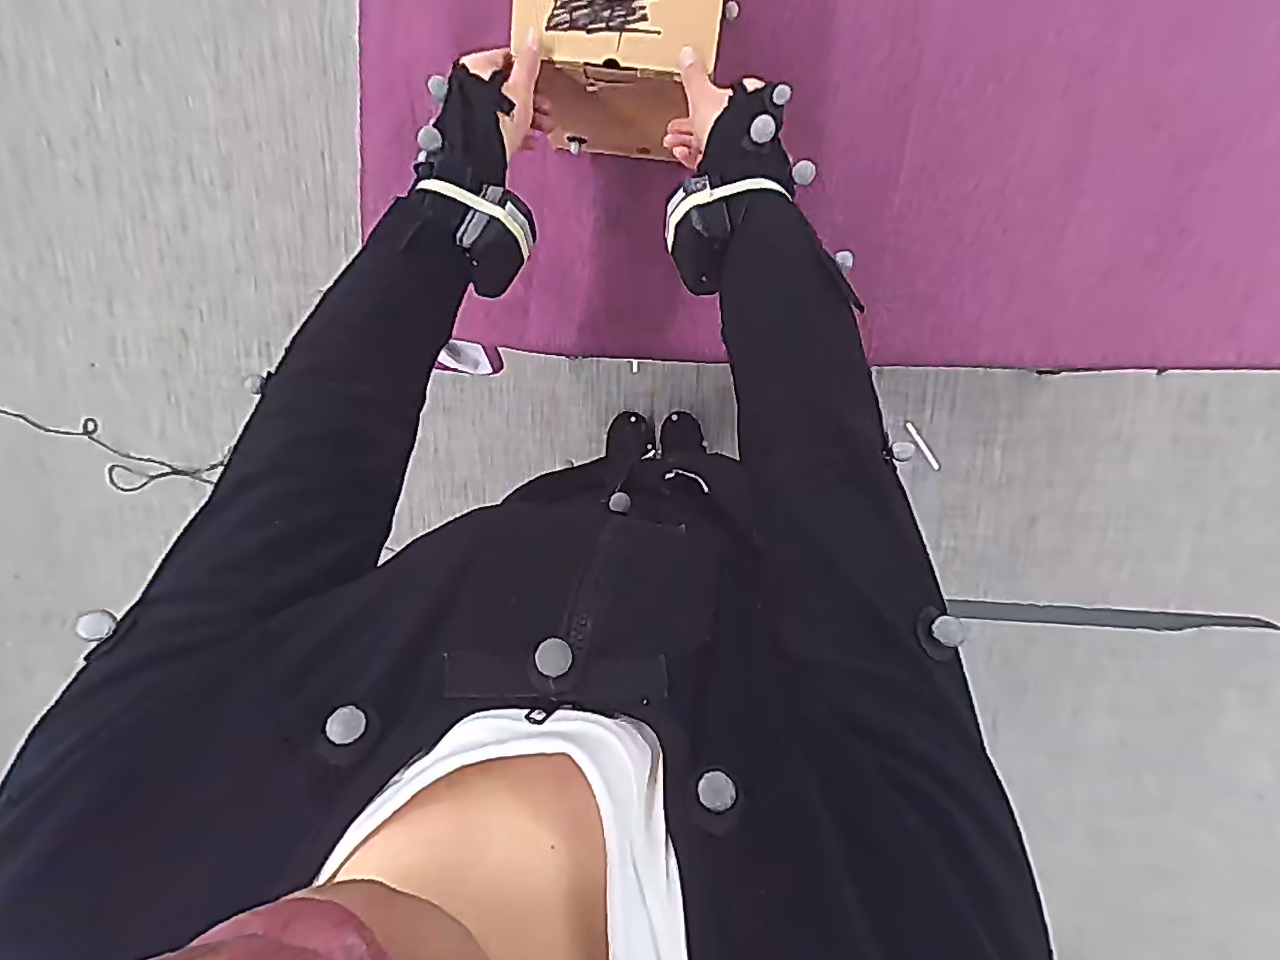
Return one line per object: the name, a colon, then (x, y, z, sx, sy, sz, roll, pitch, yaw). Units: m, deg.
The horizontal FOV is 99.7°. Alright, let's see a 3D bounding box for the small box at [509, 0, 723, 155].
small box: (-0.010, -0.428, 0.494, 0.168, 0.176, 0.179, 7, 99, 1)
